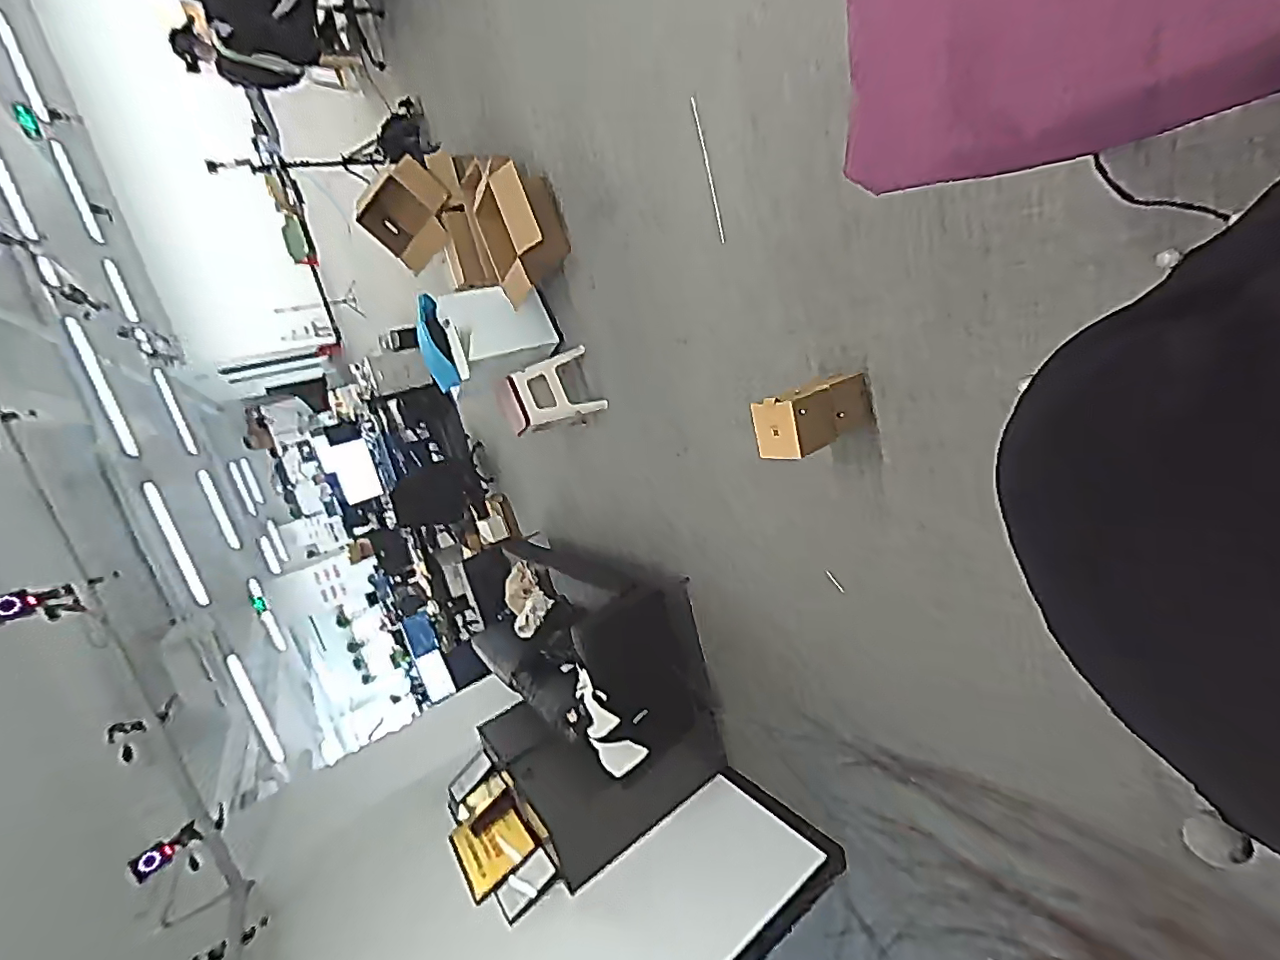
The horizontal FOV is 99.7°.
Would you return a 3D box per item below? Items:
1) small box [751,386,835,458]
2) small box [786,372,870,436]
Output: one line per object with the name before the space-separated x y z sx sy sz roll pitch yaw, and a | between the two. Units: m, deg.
small box | 0.471 -0.177 1.649 0.168 0.176 0.179 5 113 57
small box | 0.601 -0.241 1.727 0.179 0.176 0.168 6 114 58
